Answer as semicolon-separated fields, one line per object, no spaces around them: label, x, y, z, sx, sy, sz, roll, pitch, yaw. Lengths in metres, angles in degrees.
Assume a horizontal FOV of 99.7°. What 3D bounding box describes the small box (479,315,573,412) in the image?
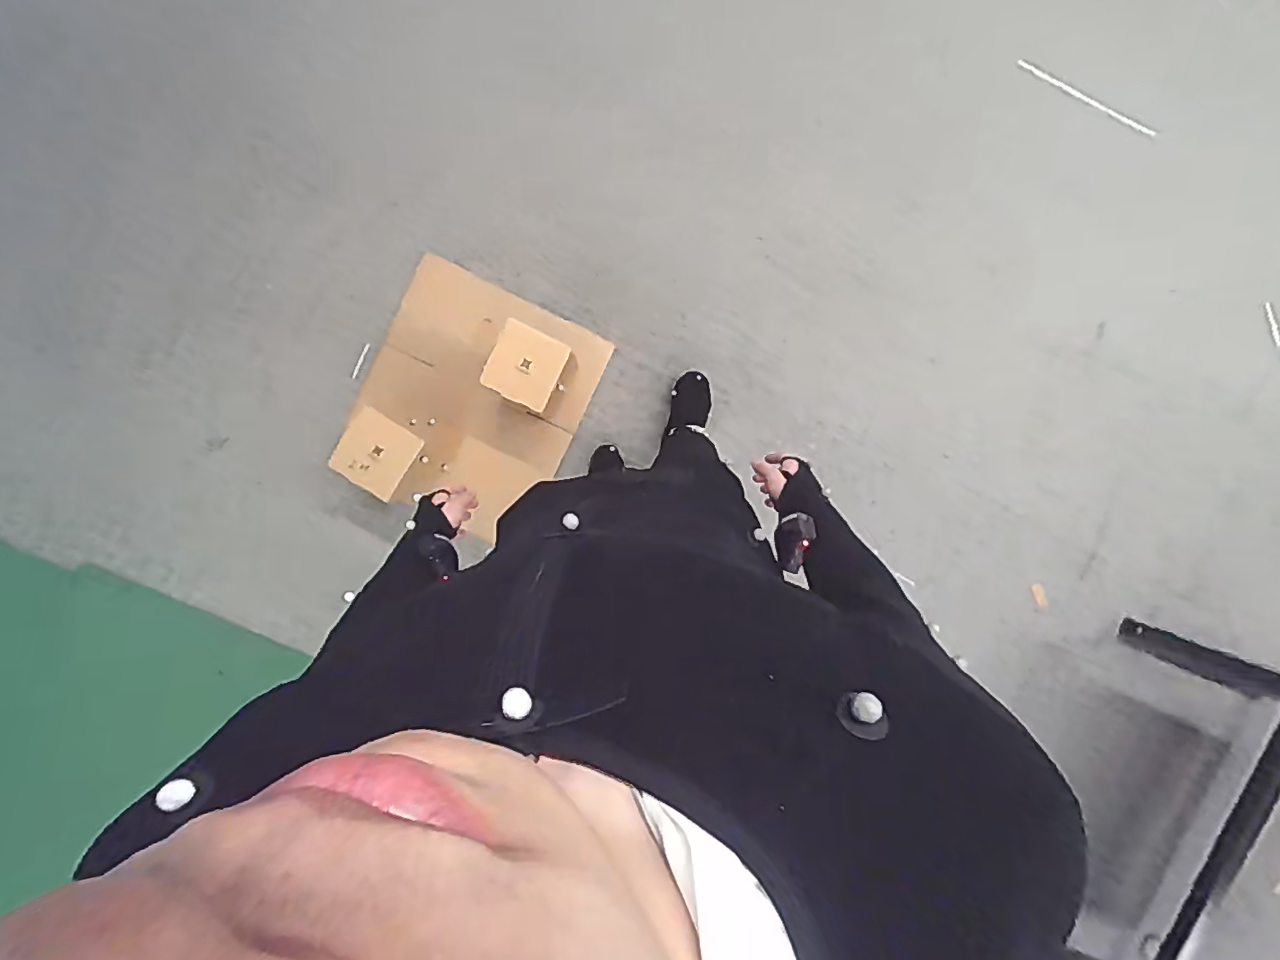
small box;-0.275;-0.281;1.343;0.168;0.176;0.179;25;94;-5

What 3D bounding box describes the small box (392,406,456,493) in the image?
small box;-0.634;-0.086;1.502;0.168;0.176;0.179;34;92;-5

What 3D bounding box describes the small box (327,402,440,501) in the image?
small box;-0.619;-0.072;1.337;0.168;0.176;0.179;33;93;-4

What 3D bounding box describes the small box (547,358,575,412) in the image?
small box;-0.289;-0.298;1.503;0.168;0.176;0.179;26;93;-5
